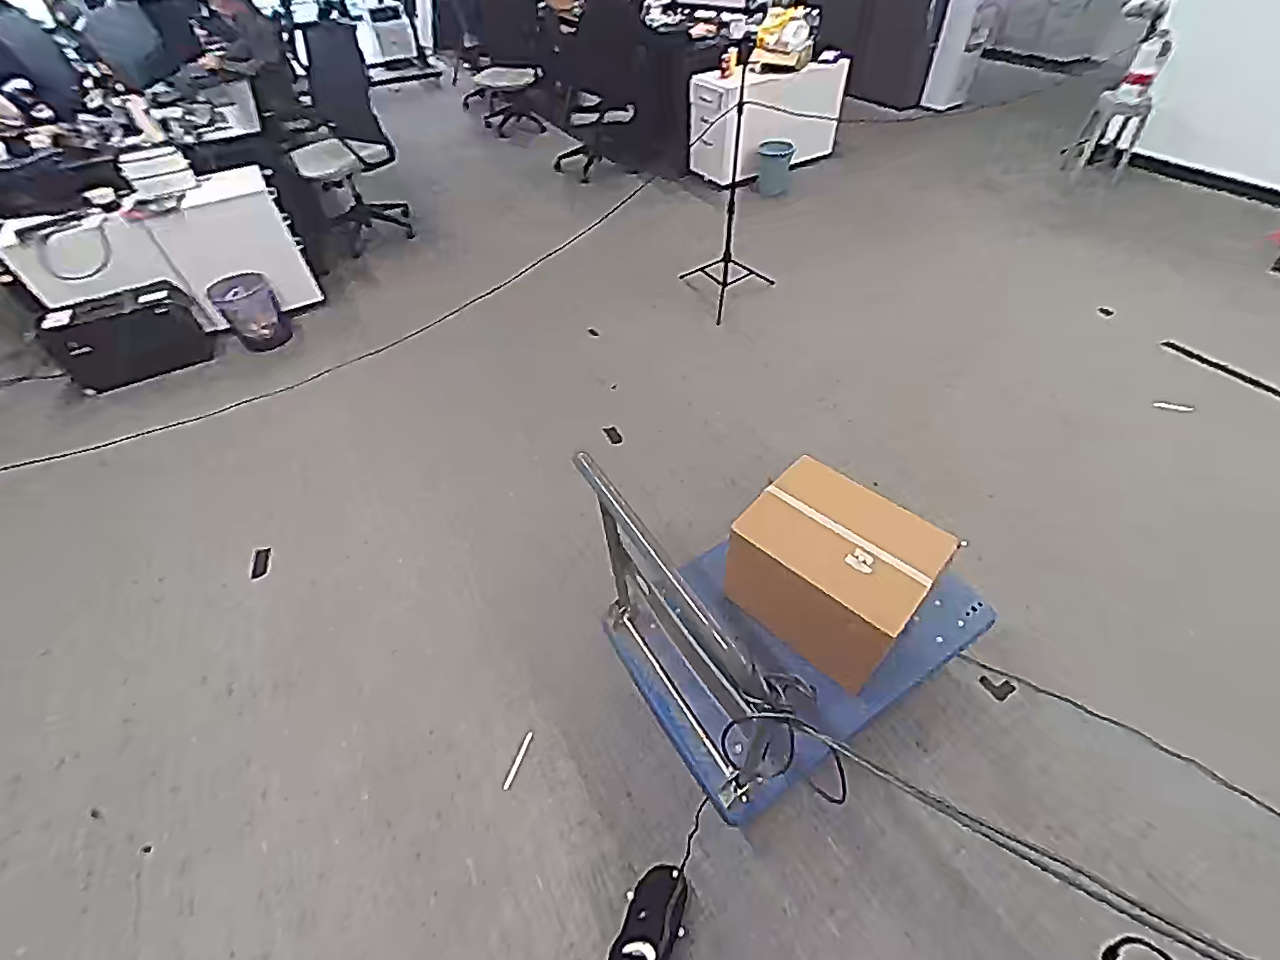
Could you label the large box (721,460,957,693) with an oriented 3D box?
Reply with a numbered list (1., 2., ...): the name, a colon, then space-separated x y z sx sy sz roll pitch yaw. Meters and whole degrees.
1. large box: 0.454 0.225 1.317 0.408 0.320 0.320 34 59 28
